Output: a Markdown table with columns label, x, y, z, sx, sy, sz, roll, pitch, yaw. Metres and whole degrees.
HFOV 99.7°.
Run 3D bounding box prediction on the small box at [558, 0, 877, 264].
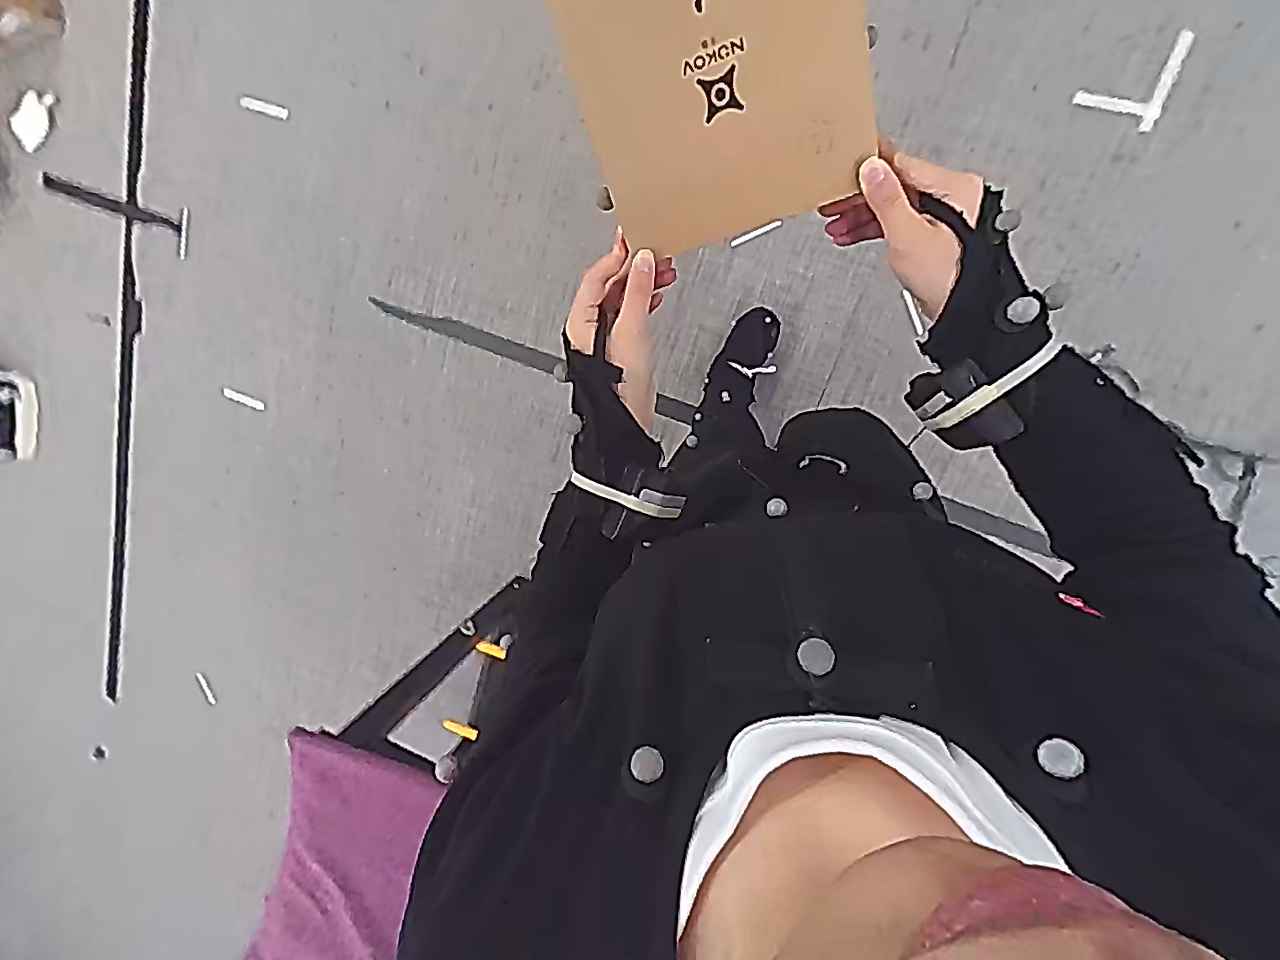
| label | x | y | z | sx | sy | sz | roll | pitch | yaw |
| --- | --- | --- | --- | --- | --- | --- | --- | --- | --- |
| small box | 0.058 | -0.282 | 0.384 | 0.168 | 0.176 | 0.179 | -12 | 123 | 14 |
